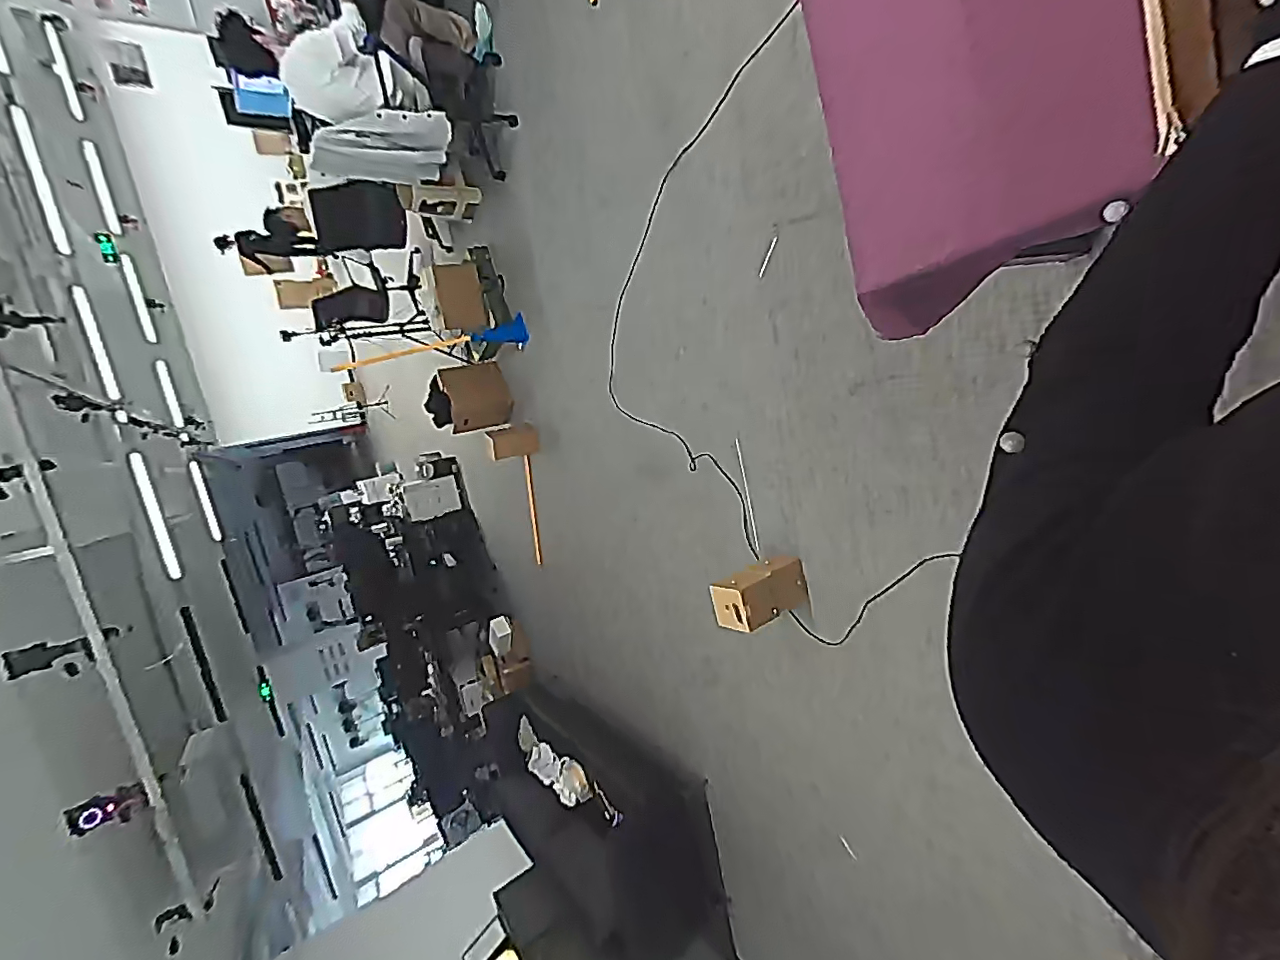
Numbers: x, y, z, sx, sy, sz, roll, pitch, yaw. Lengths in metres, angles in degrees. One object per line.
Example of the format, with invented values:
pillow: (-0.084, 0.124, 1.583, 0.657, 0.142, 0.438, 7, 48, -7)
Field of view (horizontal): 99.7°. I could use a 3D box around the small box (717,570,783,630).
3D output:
small box: (0.425, 0.450, 2.063, 0.179, 0.176, 0.168, -5, 100, 59)
